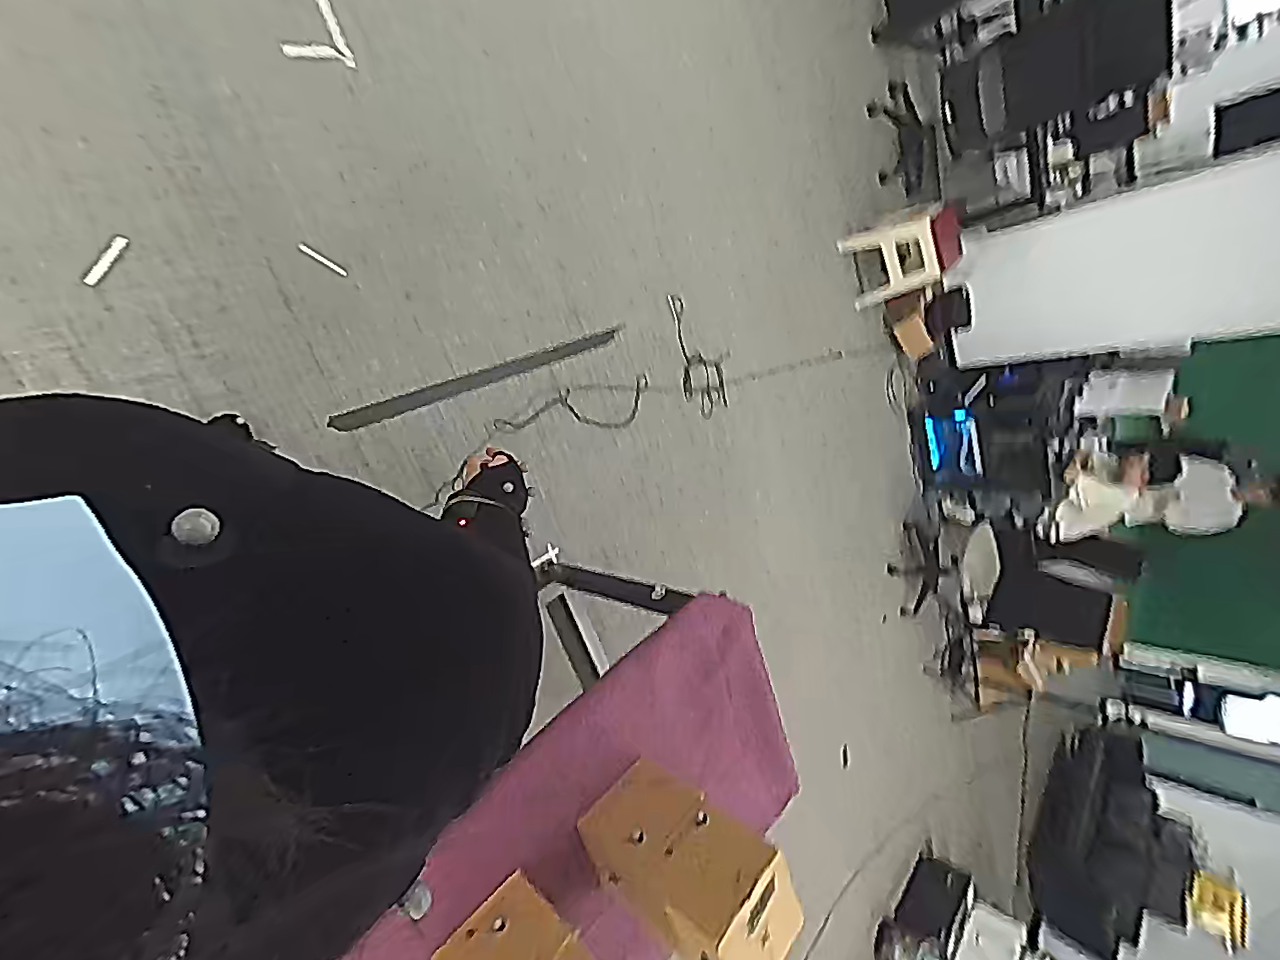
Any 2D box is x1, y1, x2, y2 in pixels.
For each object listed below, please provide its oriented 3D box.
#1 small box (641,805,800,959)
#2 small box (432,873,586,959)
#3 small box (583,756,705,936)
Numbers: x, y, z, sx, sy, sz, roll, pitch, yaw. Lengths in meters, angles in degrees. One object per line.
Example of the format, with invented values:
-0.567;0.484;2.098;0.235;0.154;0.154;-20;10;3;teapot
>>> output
0.126;0.665;0.868;0.168;0.176;0.179;-32;112;-35;small box
-0.183;0.758;0.820;0.168;0.176;0.179;-31;111;-36;small box
0.016;0.654;0.990;0.179;0.176;0.168;-30;111;-36;small box
